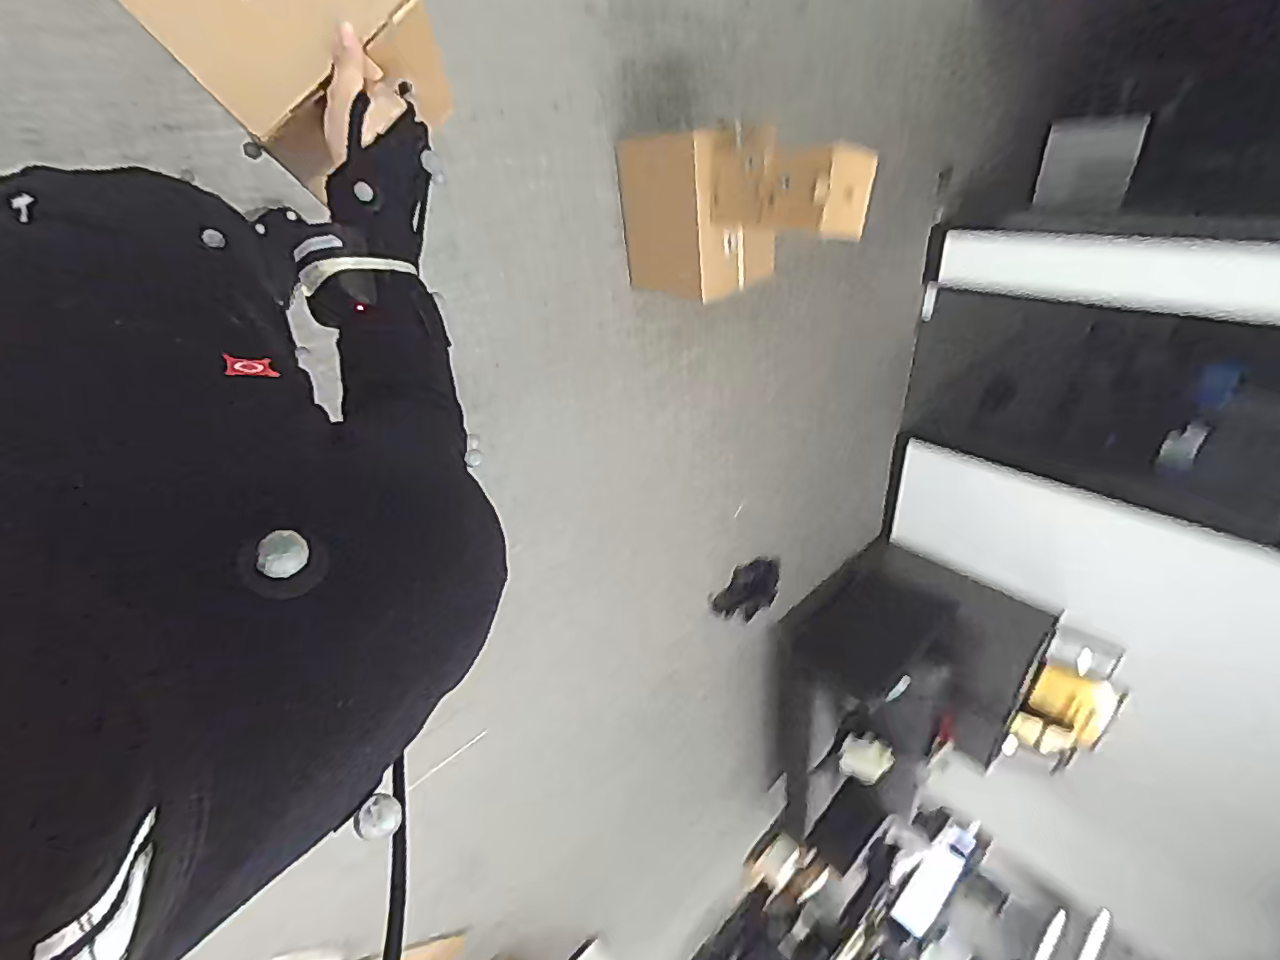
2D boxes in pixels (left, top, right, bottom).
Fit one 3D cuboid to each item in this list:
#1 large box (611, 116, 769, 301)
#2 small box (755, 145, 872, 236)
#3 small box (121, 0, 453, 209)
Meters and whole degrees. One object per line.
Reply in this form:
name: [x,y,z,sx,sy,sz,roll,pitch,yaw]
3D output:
large box: [0.148,-0.778,1.547,0.320,0.320,0.408,-30,131,-29]
small box: [0.392,-0.660,1.239,0.179,0.176,0.168,-17,123,-37]
small box: [-0.286,-0.367,0.465,0.168,0.176,0.179,-45,102,-4]
